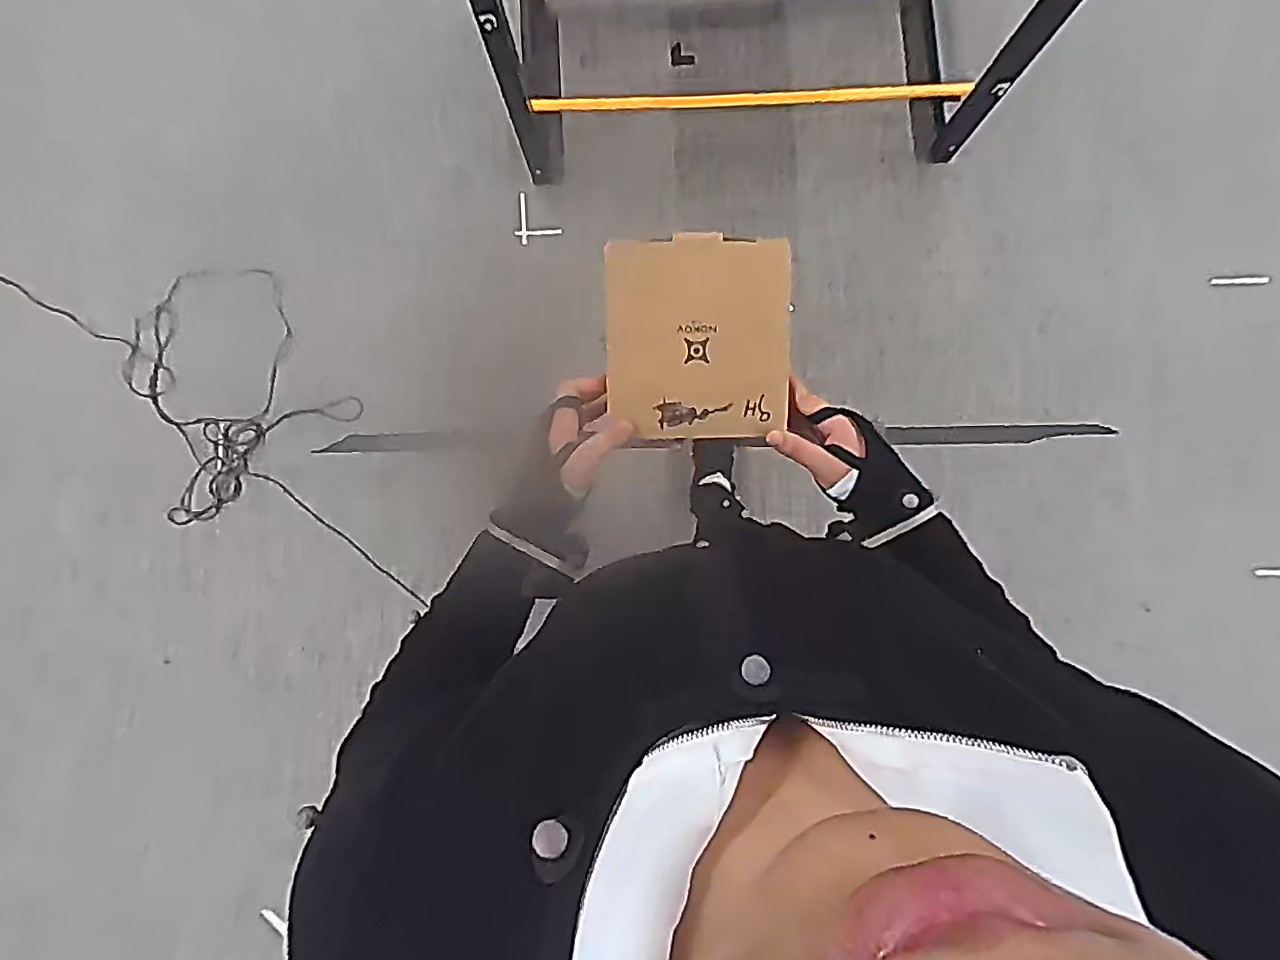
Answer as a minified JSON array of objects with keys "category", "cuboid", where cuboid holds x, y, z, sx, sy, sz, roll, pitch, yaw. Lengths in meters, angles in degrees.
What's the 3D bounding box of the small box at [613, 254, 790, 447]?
[{"category":"small box","cuboid":[0.054,-0.126,0.579,0.168,0.176,0.179,-1,96,-1]}]
